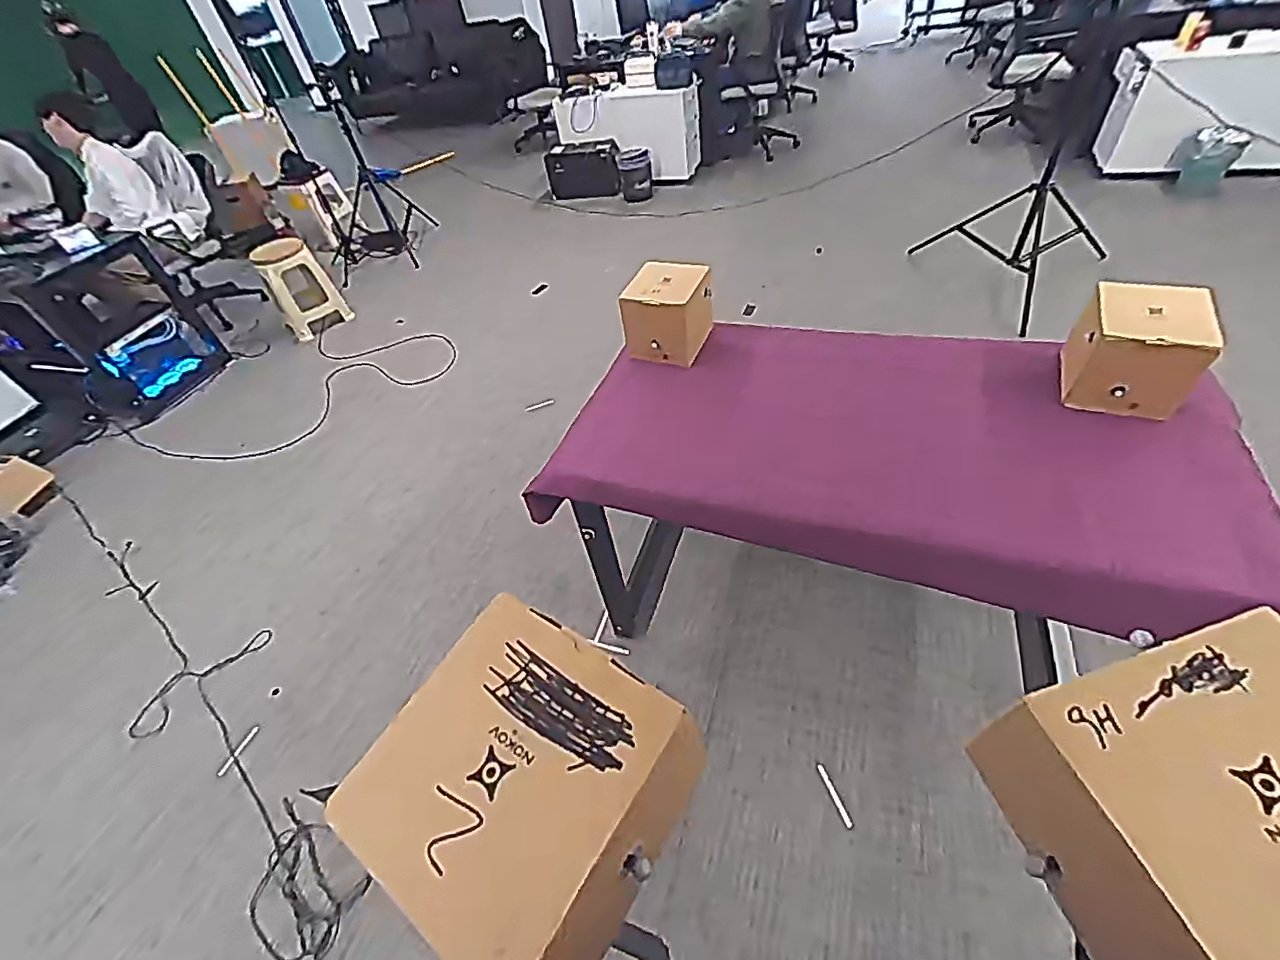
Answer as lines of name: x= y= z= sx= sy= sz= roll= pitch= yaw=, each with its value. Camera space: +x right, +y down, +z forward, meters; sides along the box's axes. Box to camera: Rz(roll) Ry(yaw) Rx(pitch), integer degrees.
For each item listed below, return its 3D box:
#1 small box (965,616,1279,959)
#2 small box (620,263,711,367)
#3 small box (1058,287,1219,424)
small box: x=0.358 y=0.222 z=0.357 sx=0.168 sy=0.176 sz=0.179 roll=-21 pitch=53 yaw=1
small box: x=0.070 y=-0.402 z=1.319 sx=0.168 sy=0.176 sz=0.179 roll=14 pitch=53 yaw=21
small box: x=0.919 y=-0.235 z=1.019 sx=0.168 sy=0.176 sz=0.179 roll=14 pitch=55 yaw=22
